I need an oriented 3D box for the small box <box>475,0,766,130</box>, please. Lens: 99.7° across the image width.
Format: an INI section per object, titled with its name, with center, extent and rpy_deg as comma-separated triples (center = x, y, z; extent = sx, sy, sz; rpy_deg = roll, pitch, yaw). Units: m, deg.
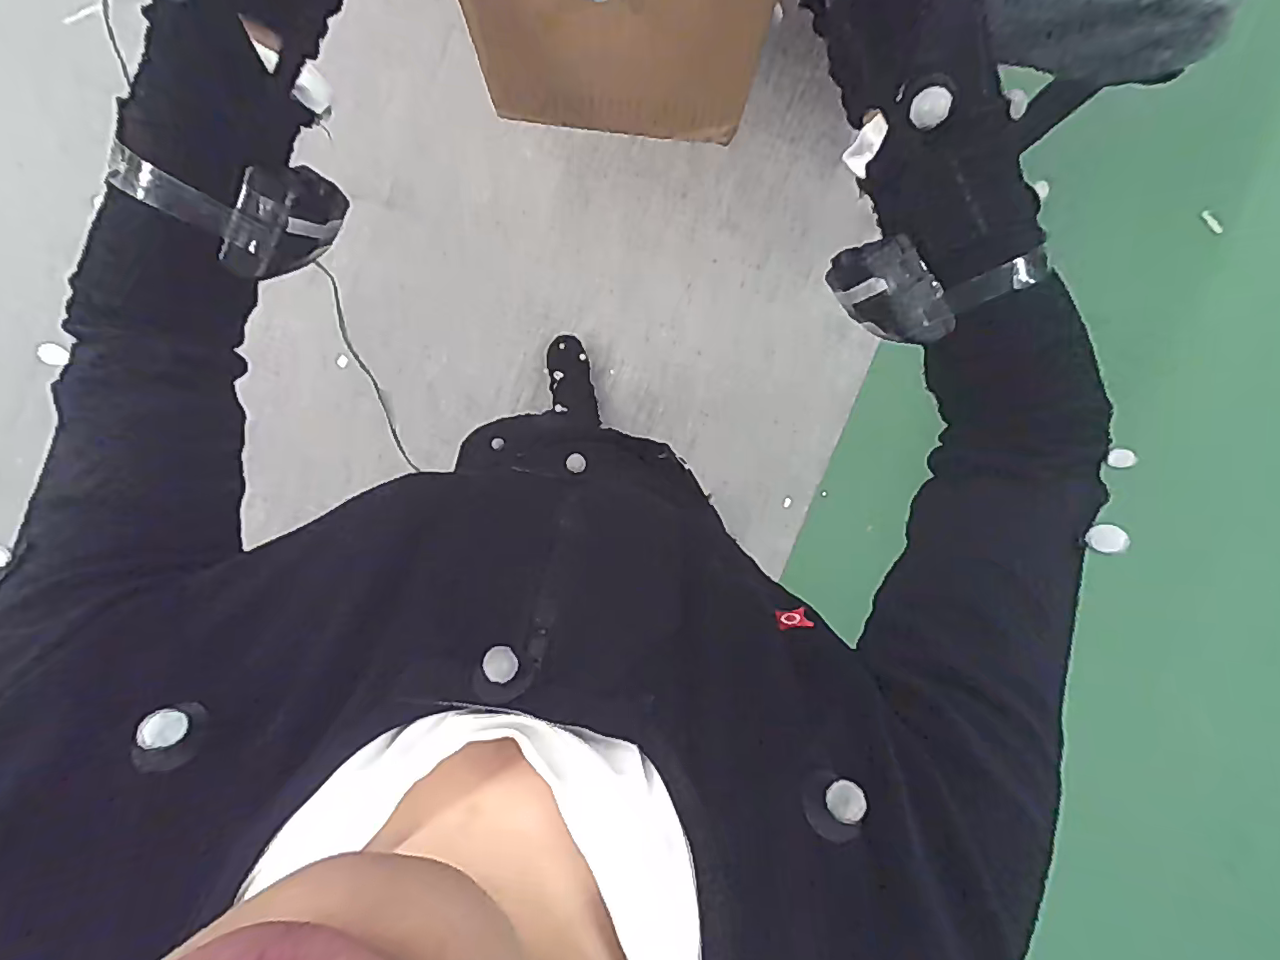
[small box]
center = -0.006, -0.345, 0.321
extent = 0.179, 0.176, 0.168
rpy_deg = 6, 89, -2
